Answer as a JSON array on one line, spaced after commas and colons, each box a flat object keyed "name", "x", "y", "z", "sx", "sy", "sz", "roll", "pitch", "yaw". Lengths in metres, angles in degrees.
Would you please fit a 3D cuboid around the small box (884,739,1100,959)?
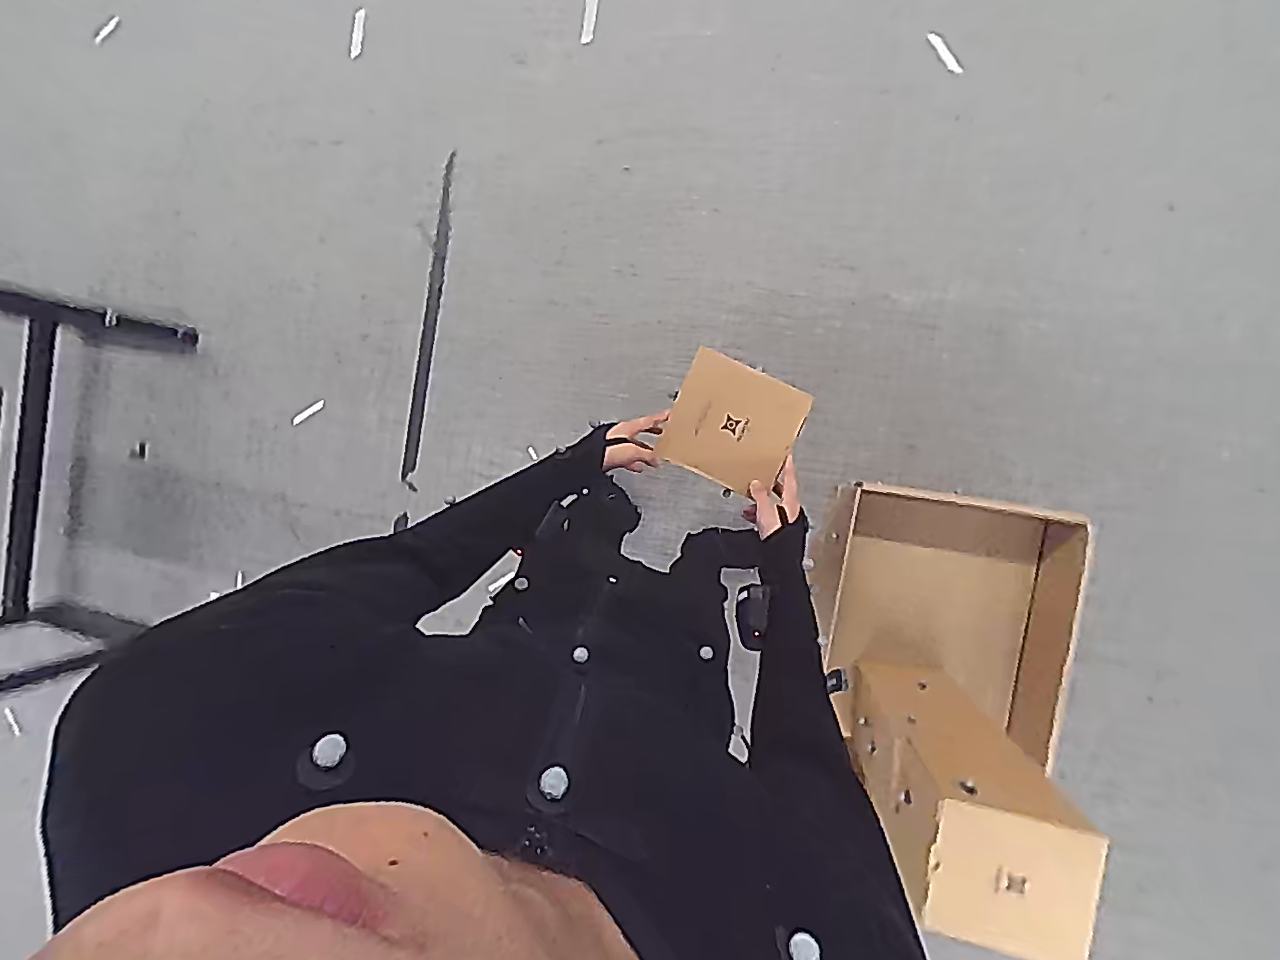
[{"name": "small box", "x": 0.441, "y": 0.469, "z": 0.708, "sx": 0.179, "sy": 0.176, "sz": 0.168, "roll": 9, "pitch": 92, "yaw": 13}]

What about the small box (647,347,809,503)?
[{"name": "small box", "x": 0.122, "y": -0.081, "z": 0.821, "sx": 0.179, "sy": 0.176, "sz": 0.168, "roll": 24, "pitch": 94, "yaw": -1}]
